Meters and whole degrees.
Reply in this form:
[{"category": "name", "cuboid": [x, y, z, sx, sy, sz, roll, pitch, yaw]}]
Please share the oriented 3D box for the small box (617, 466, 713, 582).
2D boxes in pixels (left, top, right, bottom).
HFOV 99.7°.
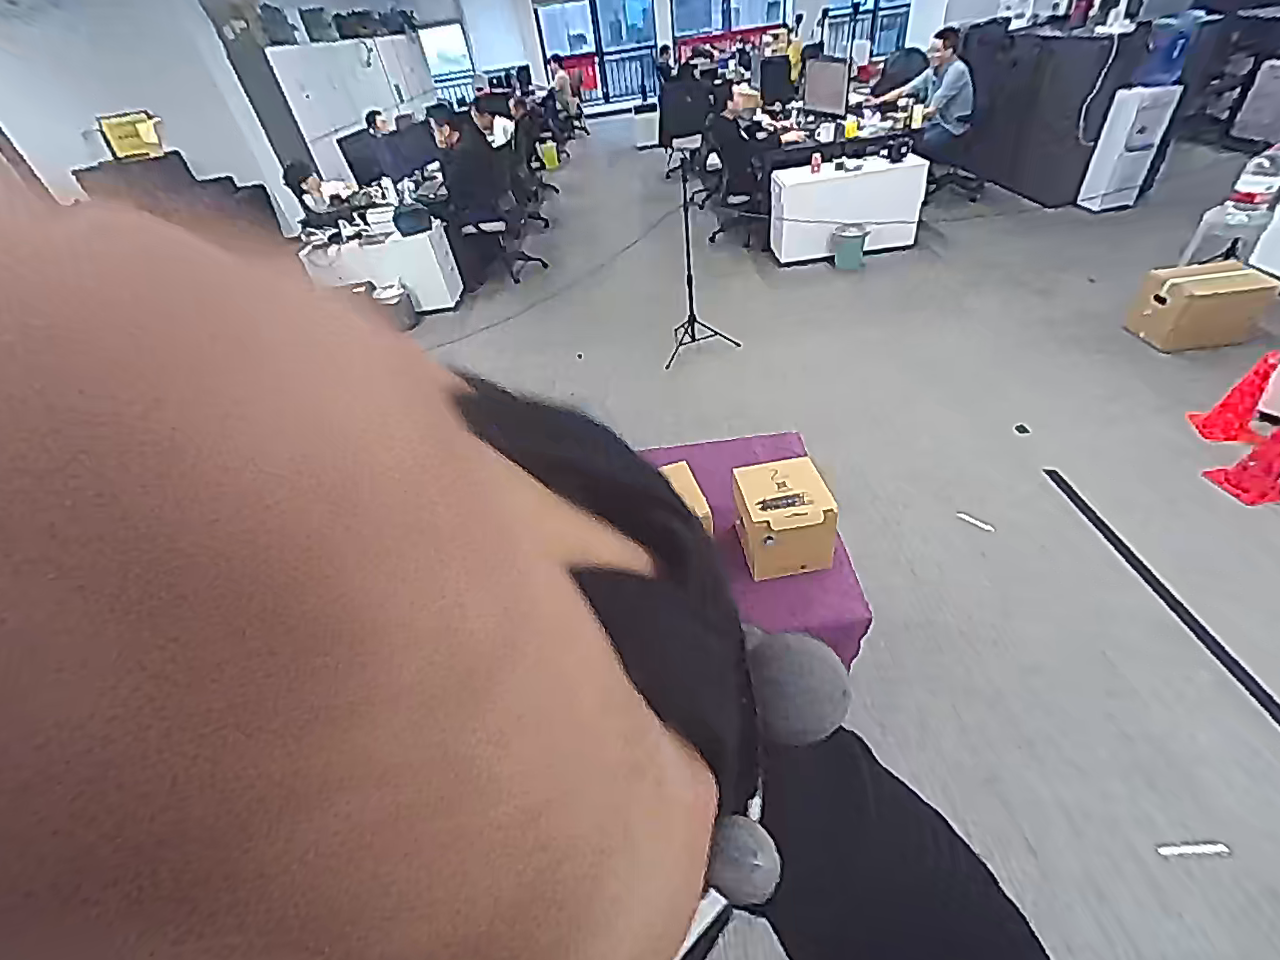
[{"category": "small box", "cuboid": [0.056, 0.102, 1.177, 0.168, 0.176, 0.179, -14, 40, -6]}]
